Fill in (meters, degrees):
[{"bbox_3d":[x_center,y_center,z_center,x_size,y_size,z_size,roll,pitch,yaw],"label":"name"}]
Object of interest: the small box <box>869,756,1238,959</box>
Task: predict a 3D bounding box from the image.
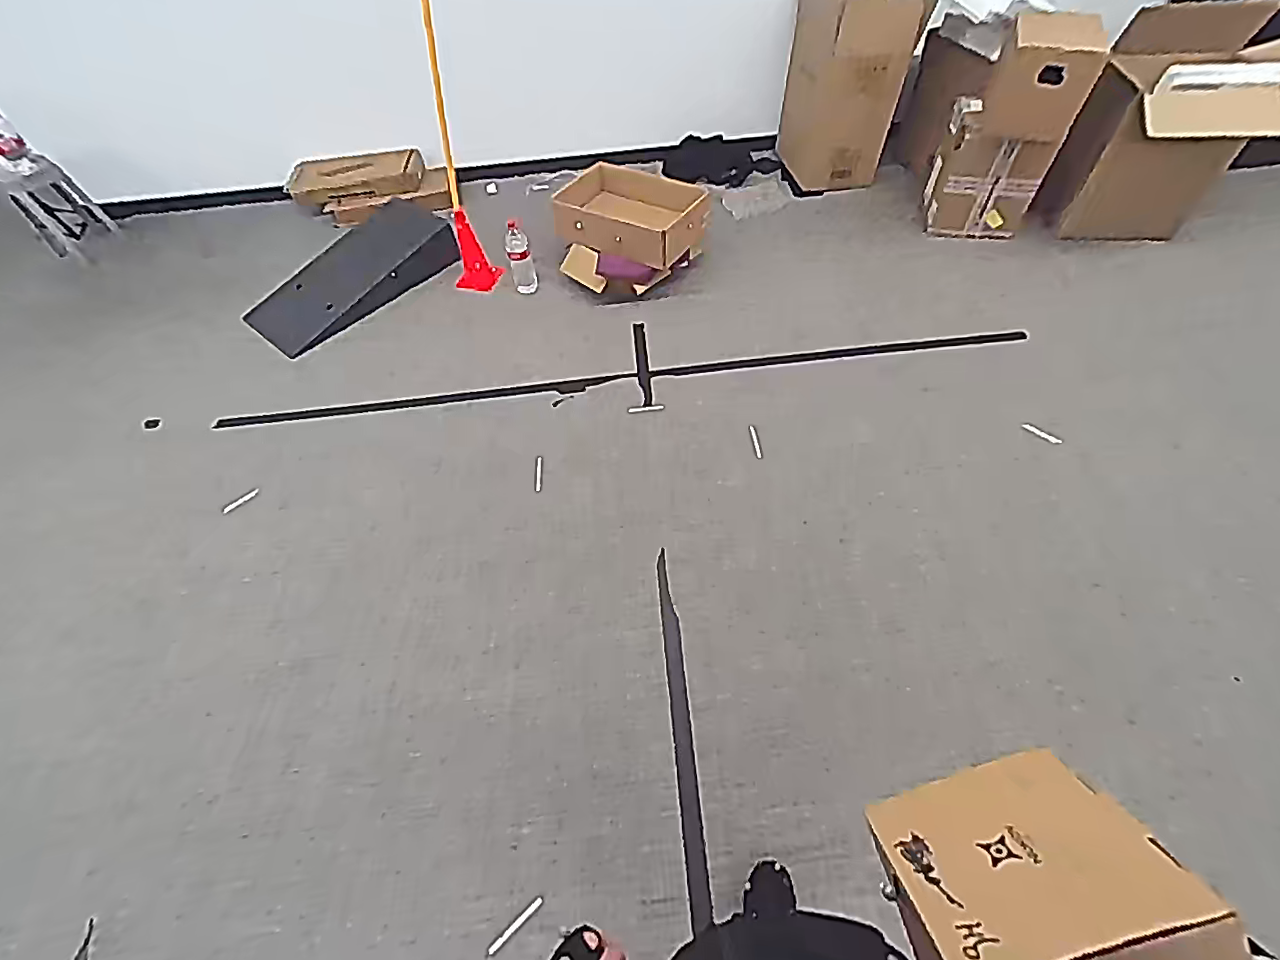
[{"bbox_3d":[0.321,0.370,0.436,0.179,0.168,0.176,-20,95,3],"label":"small box"}]
